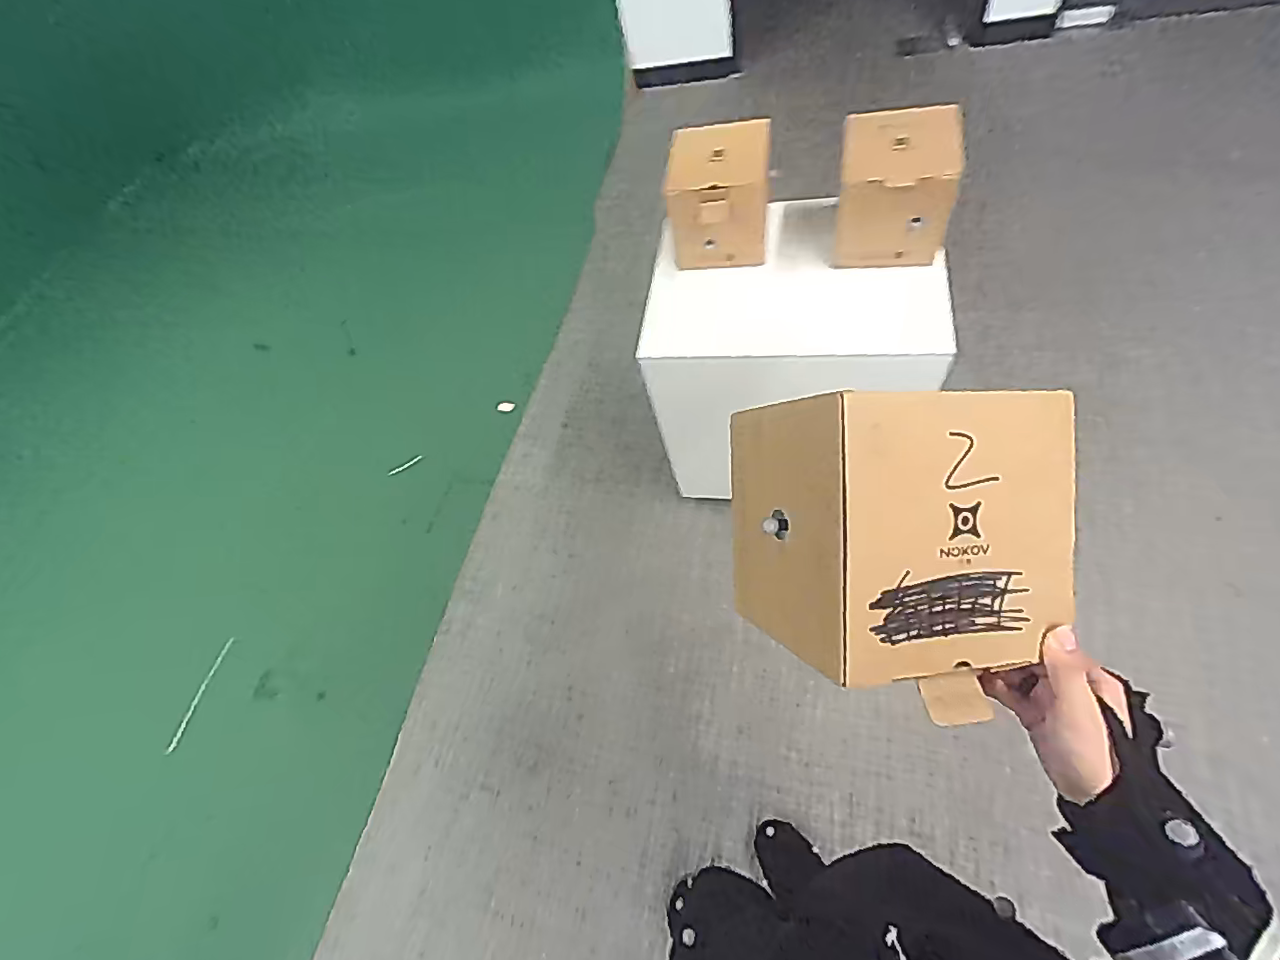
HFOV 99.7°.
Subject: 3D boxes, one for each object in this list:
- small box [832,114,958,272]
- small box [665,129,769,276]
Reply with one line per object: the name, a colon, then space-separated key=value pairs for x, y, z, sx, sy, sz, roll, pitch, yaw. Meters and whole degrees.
small box: x=0.418 y=-0.470 z=0.908 sx=0.168 sy=0.176 sz=0.179 roll=5 pitch=62 yaw=16
small box: x=0.148 y=-0.503 z=0.993 sx=0.168 sy=0.176 sz=0.179 roll=2 pitch=63 yaw=14
